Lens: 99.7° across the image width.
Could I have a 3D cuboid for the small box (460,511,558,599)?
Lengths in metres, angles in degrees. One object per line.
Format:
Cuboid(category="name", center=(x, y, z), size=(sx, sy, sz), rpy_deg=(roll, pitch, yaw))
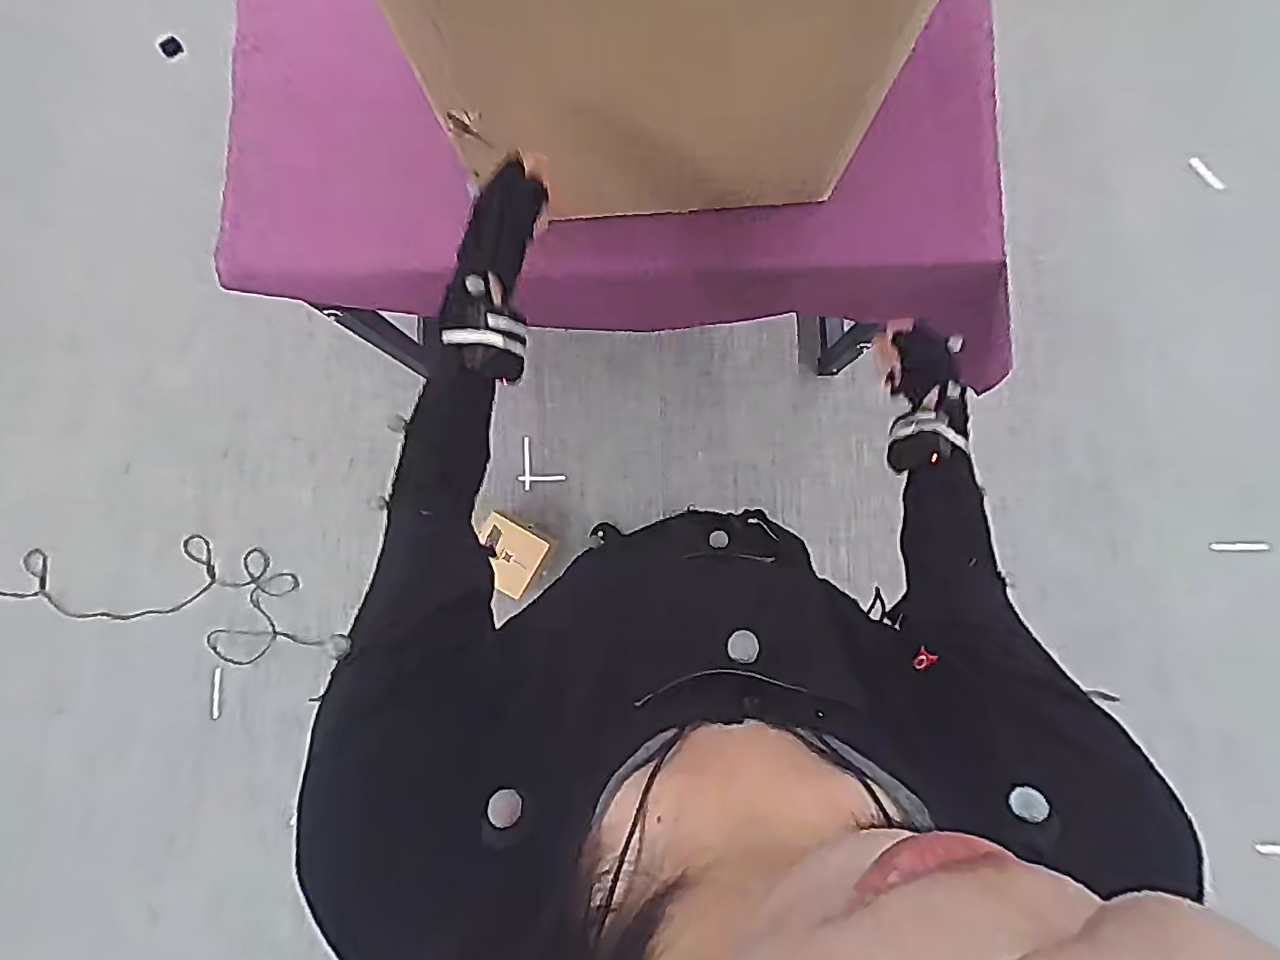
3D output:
Cuboid(category="small box", center=(-0.341, 0.197, 1.441), size=(0.179, 0.176, 0.168), rpy_deg=(30, 87, 2))
